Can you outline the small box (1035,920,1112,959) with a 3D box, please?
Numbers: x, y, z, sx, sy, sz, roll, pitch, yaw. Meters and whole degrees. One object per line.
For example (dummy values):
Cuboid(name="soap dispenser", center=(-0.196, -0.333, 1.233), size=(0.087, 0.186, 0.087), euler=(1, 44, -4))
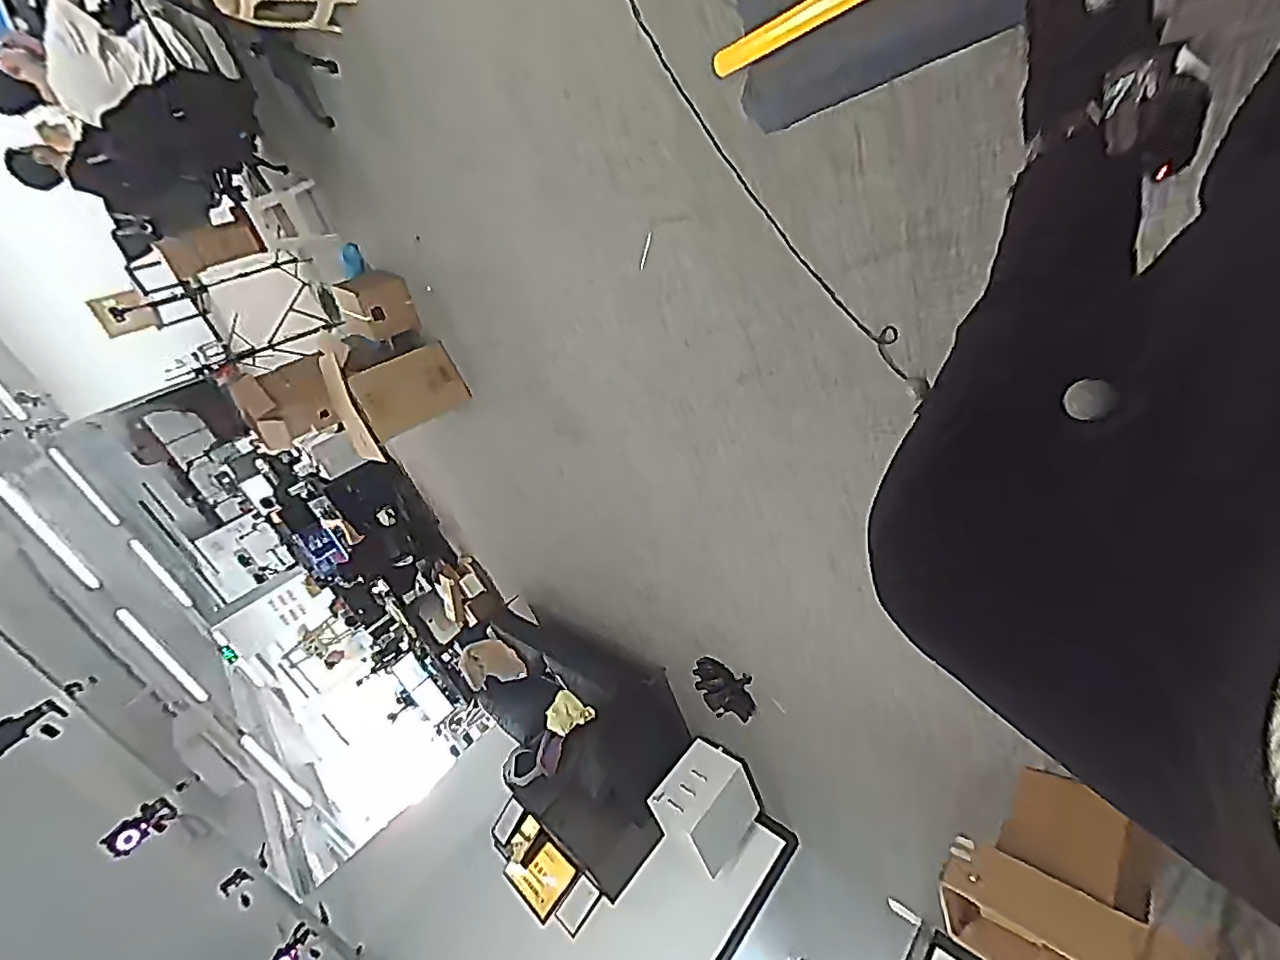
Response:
Cuboid(name="small box", center=(1.255, 1.445, 1.573), size=(0.168, 0.176, 0.179), euler=(16, 134, 43))
